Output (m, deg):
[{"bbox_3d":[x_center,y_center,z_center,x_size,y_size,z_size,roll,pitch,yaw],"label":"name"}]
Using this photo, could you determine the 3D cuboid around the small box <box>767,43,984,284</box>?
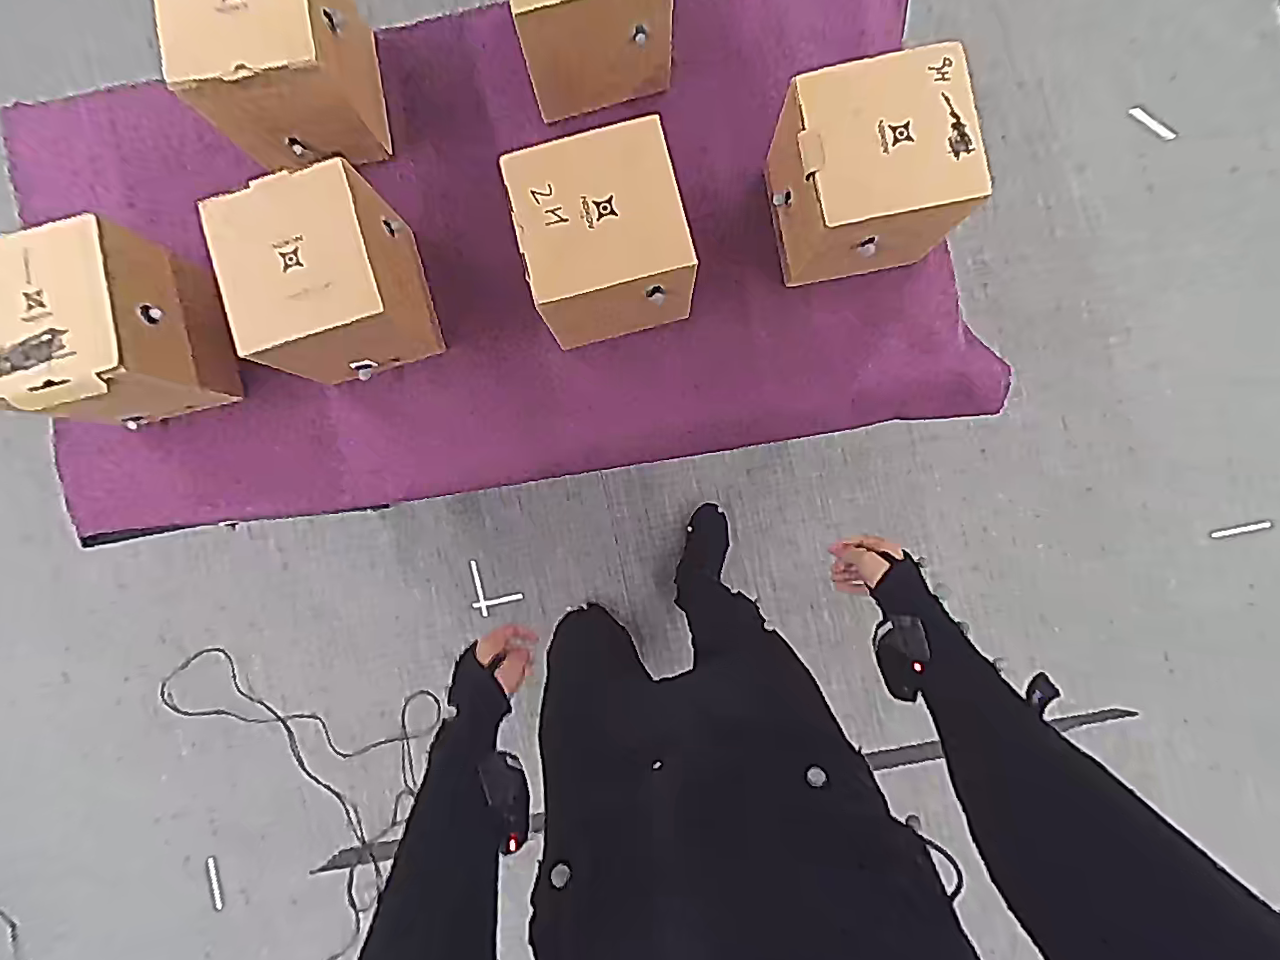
[{"bbox_3d":[0.253,-0.348,0.631,0.179,0.176,0.168,-10,89,3],"label":"small box"}]

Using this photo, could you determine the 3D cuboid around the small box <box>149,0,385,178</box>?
[{"bbox_3d":[-0.434,-0.505,0.651,0.168,0.176,0.179,-9,89,1],"label":"small box"}]

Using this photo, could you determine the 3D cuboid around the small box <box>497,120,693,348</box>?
[{"bbox_3d":[-0.046,-0.272,0.638,0.179,0.176,0.168,-14,87,2],"label":"small box"}]

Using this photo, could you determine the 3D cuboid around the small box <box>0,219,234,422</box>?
[{"bbox_3d":[-0.637,-0.174,0.652,0.168,0.176,0.179,-14,87,1],"label":"small box"}]

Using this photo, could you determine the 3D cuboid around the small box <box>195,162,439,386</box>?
[{"bbox_3d":[-0.368,-0.230,0.648,0.168,0.176,0.179,-17,88,2],"label":"small box"}]
